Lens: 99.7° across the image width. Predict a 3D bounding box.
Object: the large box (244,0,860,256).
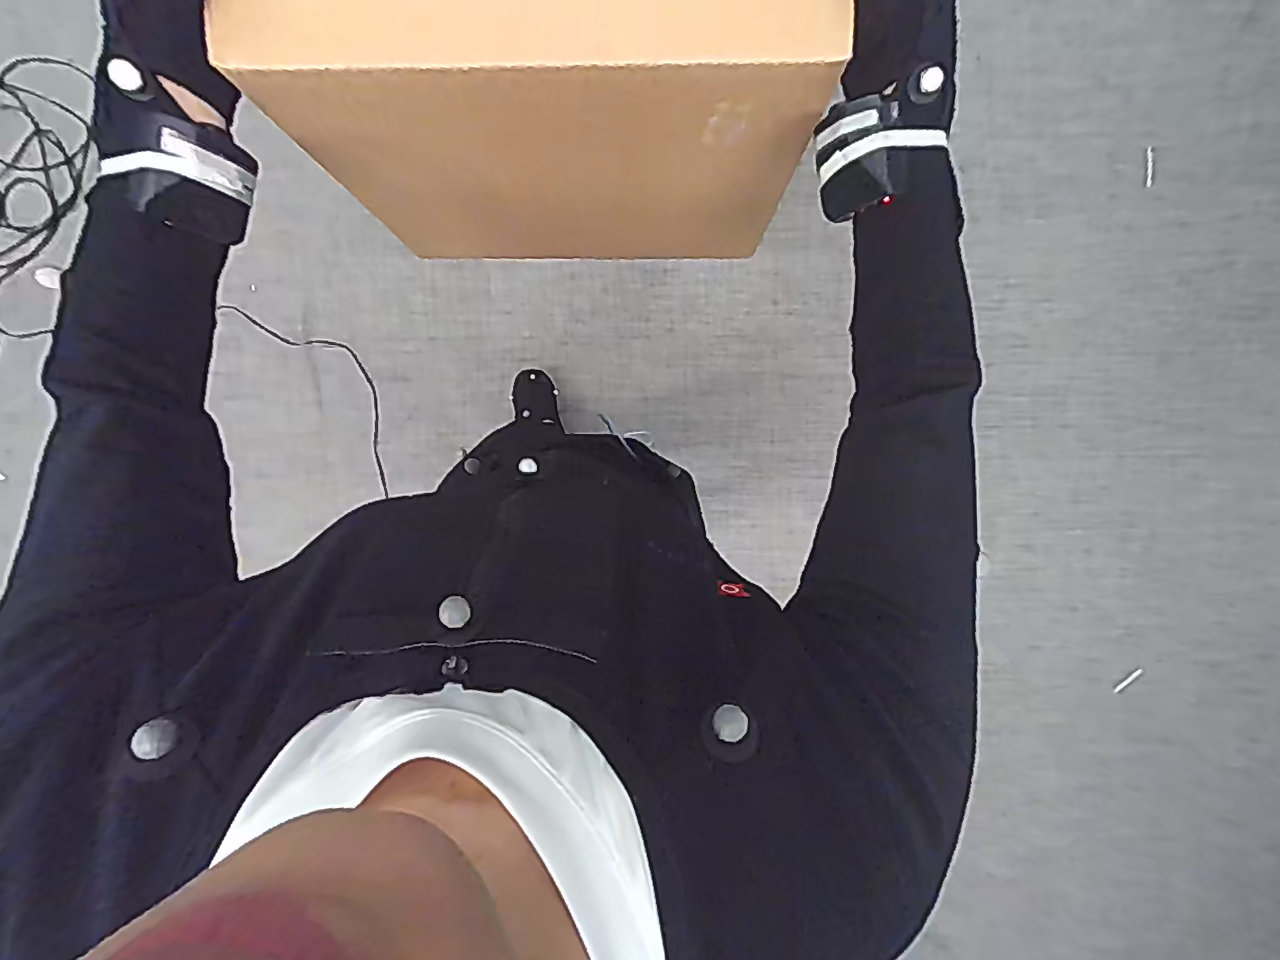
[{"bbox_3d":[-0.061,-0.422,0.498,0.408,0.320,0.320,-1,91,-1],"label":"large box"}]
